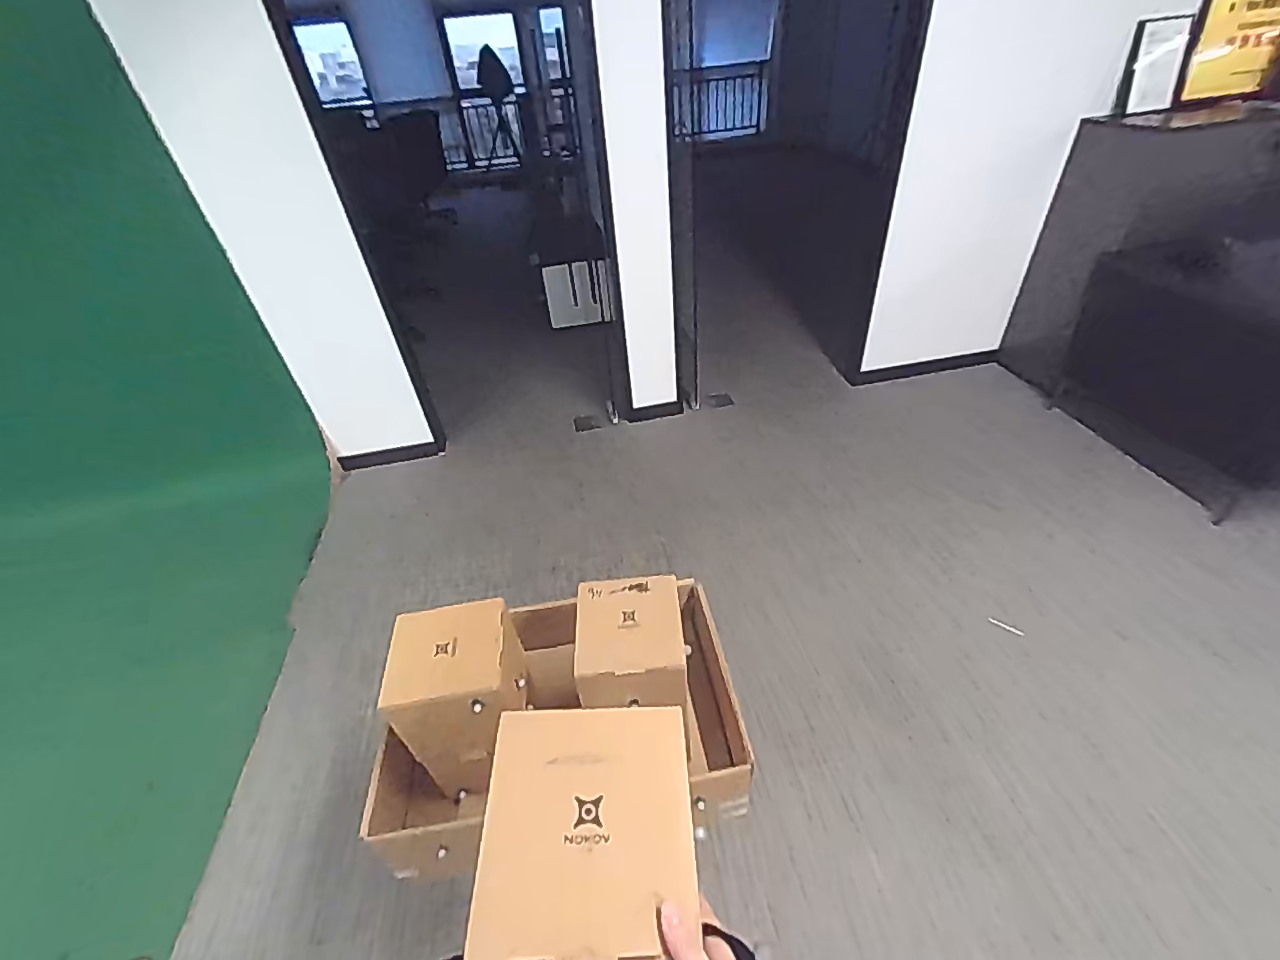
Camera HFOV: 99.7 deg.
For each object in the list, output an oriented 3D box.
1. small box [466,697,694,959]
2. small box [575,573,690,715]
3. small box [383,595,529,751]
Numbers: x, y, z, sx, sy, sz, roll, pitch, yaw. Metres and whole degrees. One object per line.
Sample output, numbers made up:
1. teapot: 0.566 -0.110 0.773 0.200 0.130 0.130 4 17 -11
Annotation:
1. small box: -0.042 0.319 0.492 0.168 0.176 0.179 0 43 -1
2. small box: -0.008 0.279 0.894 0.168 0.176 0.179 -5 40 2
3. small box: -0.288 0.319 0.888 0.179 0.176 0.168 -9 39 -5
